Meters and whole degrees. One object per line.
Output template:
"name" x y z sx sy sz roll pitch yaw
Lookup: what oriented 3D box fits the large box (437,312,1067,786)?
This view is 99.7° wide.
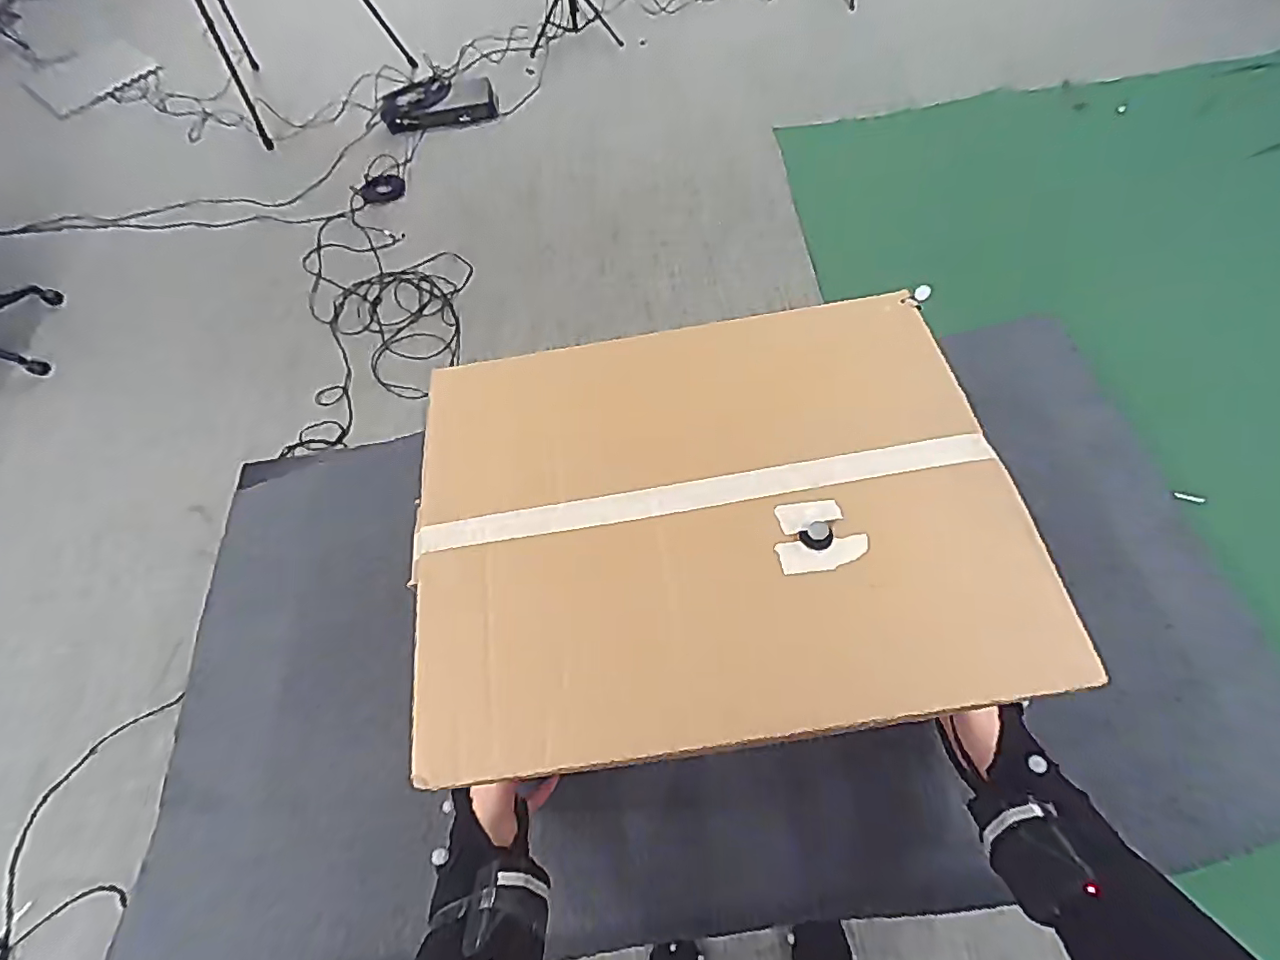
"large box" 0.058 0.089 0.531 0.408 0.320 0.320 -9 63 1
